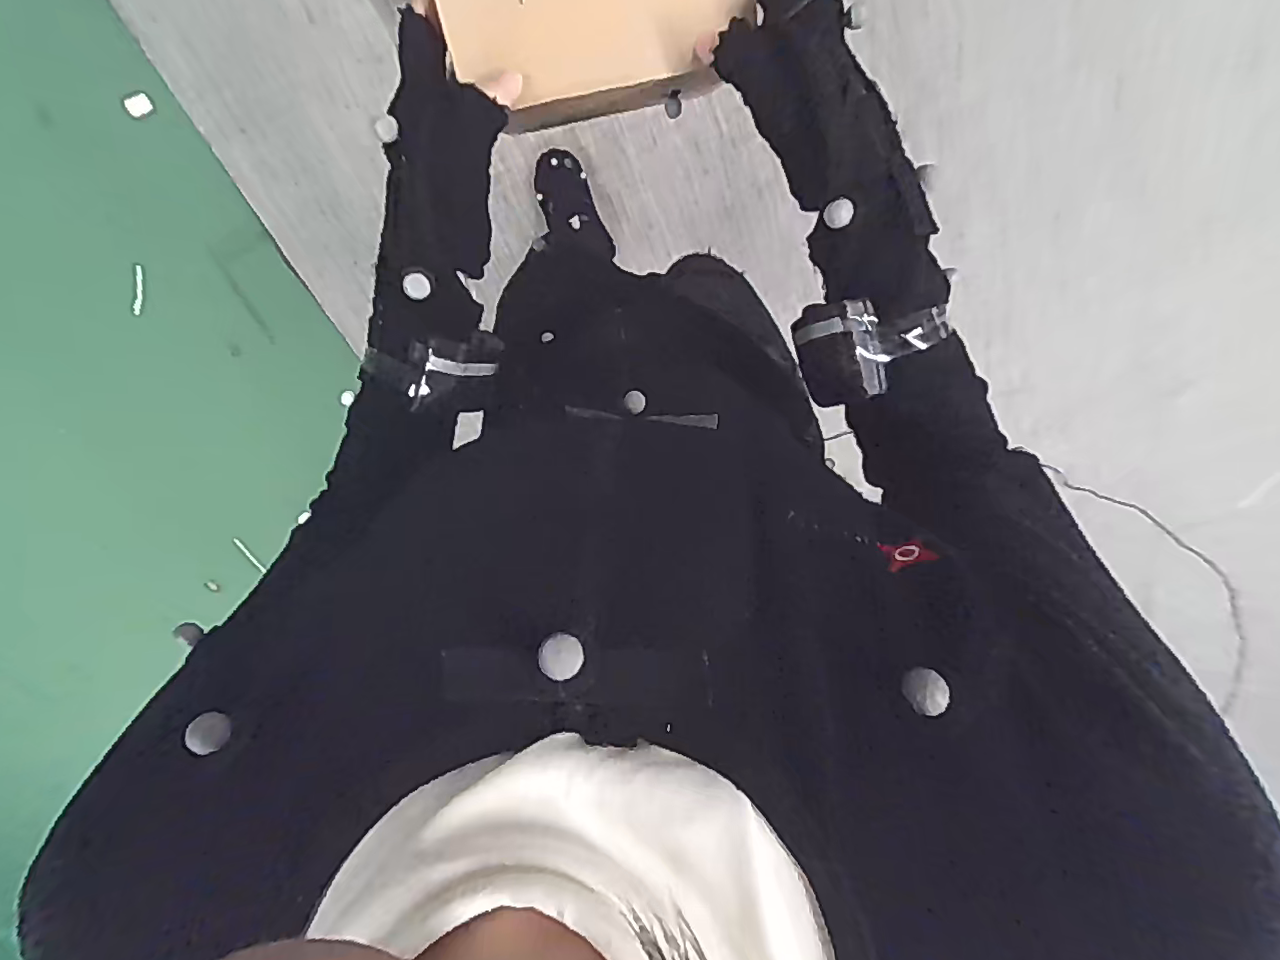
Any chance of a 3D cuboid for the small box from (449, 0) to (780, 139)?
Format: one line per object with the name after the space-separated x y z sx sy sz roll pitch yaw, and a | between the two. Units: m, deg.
-0.031 -0.332 0.339 0.179 0.176 0.168 -15 120 3 | small box
